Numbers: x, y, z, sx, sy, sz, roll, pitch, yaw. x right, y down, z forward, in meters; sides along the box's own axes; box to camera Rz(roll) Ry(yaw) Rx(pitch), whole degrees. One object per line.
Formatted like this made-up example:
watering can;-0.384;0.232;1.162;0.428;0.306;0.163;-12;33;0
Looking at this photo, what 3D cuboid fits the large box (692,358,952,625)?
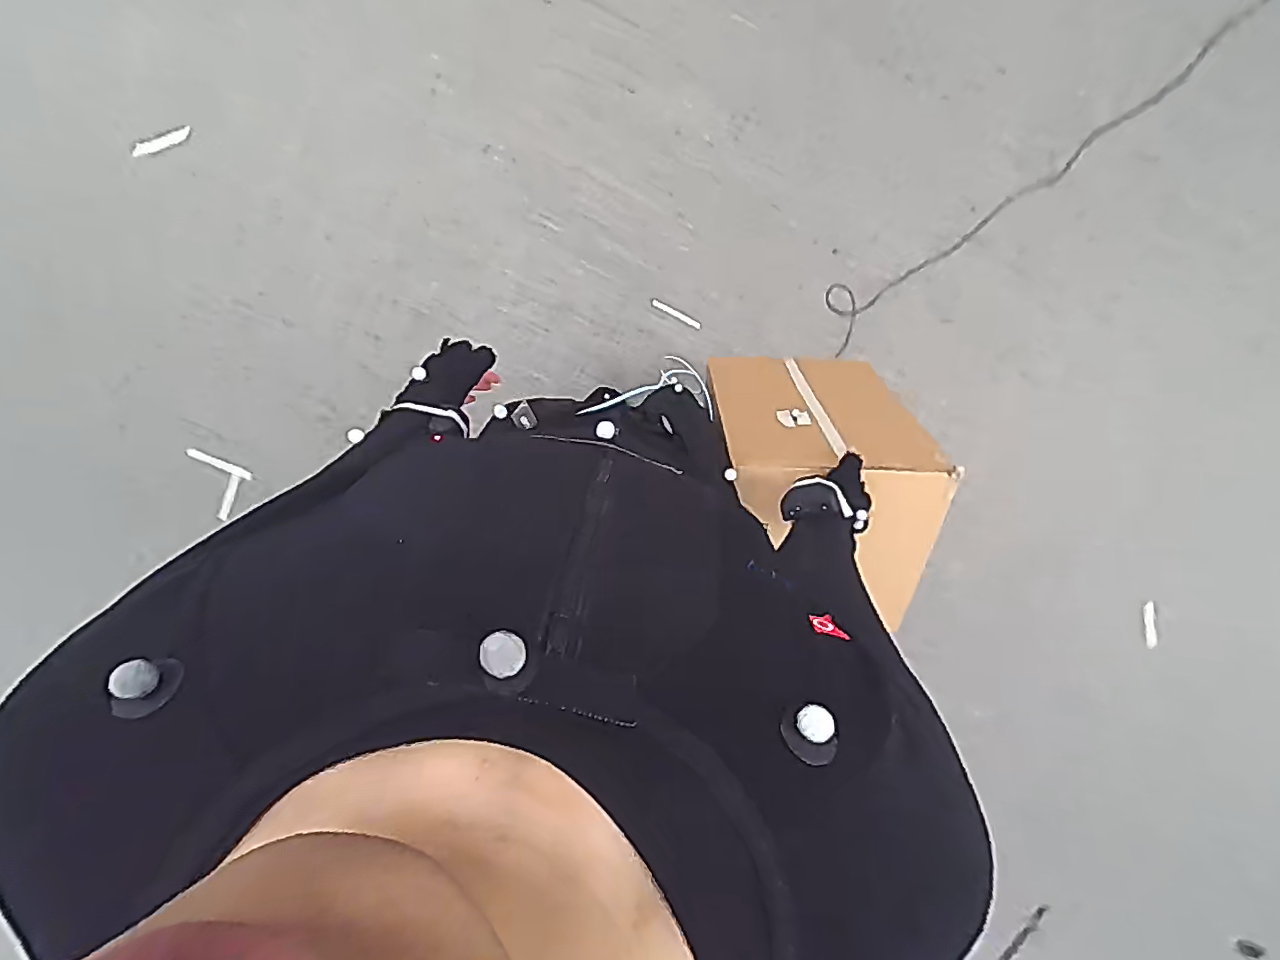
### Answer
large box;0.274;0.003;0.986;0.320;0.408;0.320;2;124;1
